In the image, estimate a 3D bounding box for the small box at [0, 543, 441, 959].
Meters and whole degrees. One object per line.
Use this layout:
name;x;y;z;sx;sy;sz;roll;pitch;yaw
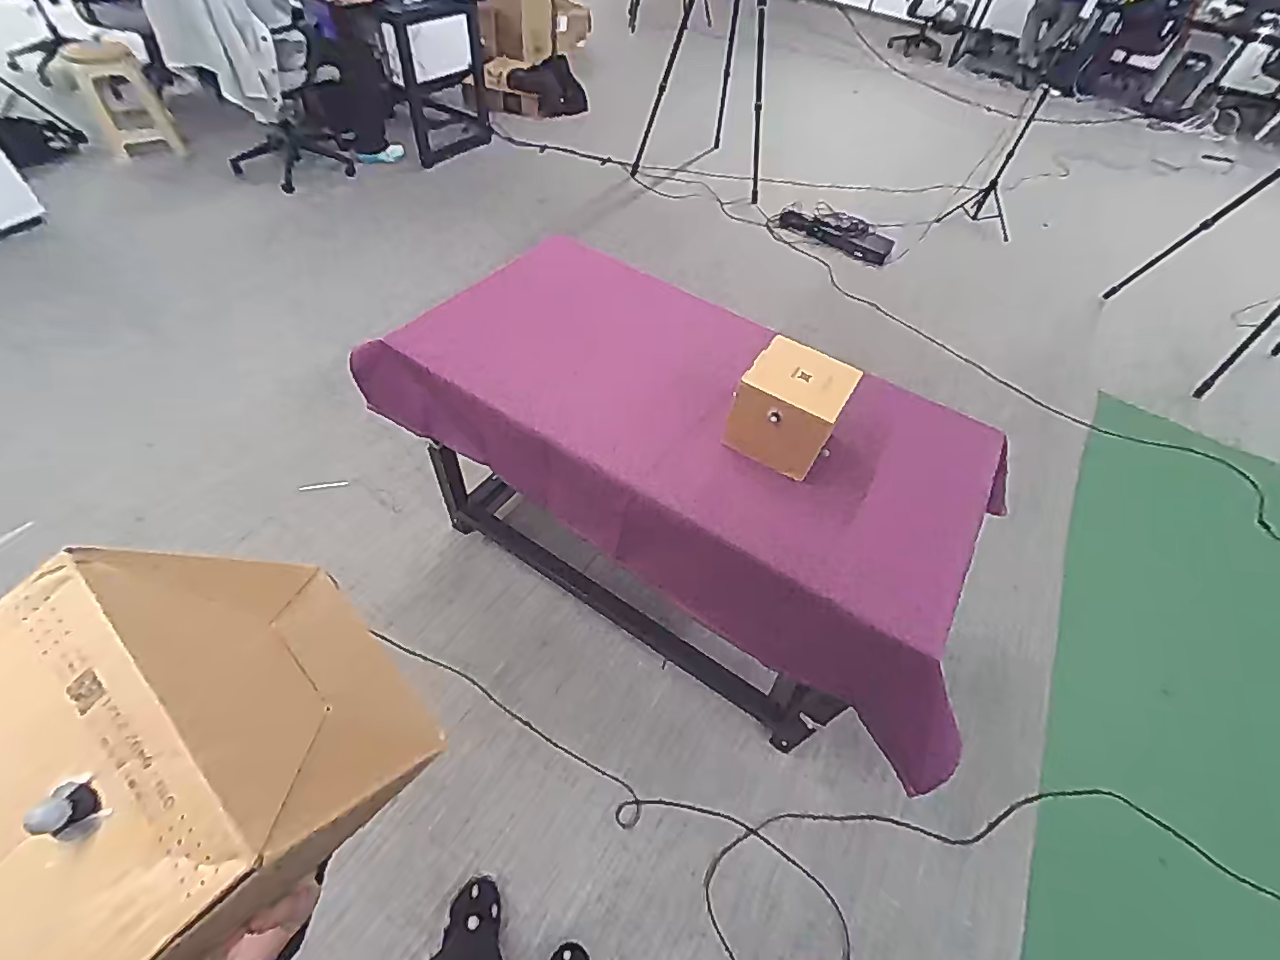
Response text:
small box;-0.252;0.155;0.313;0.176;0.179;0.168;-43;78;-6

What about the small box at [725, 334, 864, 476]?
small box;0.281;-0.137;1.015;0.179;0.176;0.168;30;55;16
